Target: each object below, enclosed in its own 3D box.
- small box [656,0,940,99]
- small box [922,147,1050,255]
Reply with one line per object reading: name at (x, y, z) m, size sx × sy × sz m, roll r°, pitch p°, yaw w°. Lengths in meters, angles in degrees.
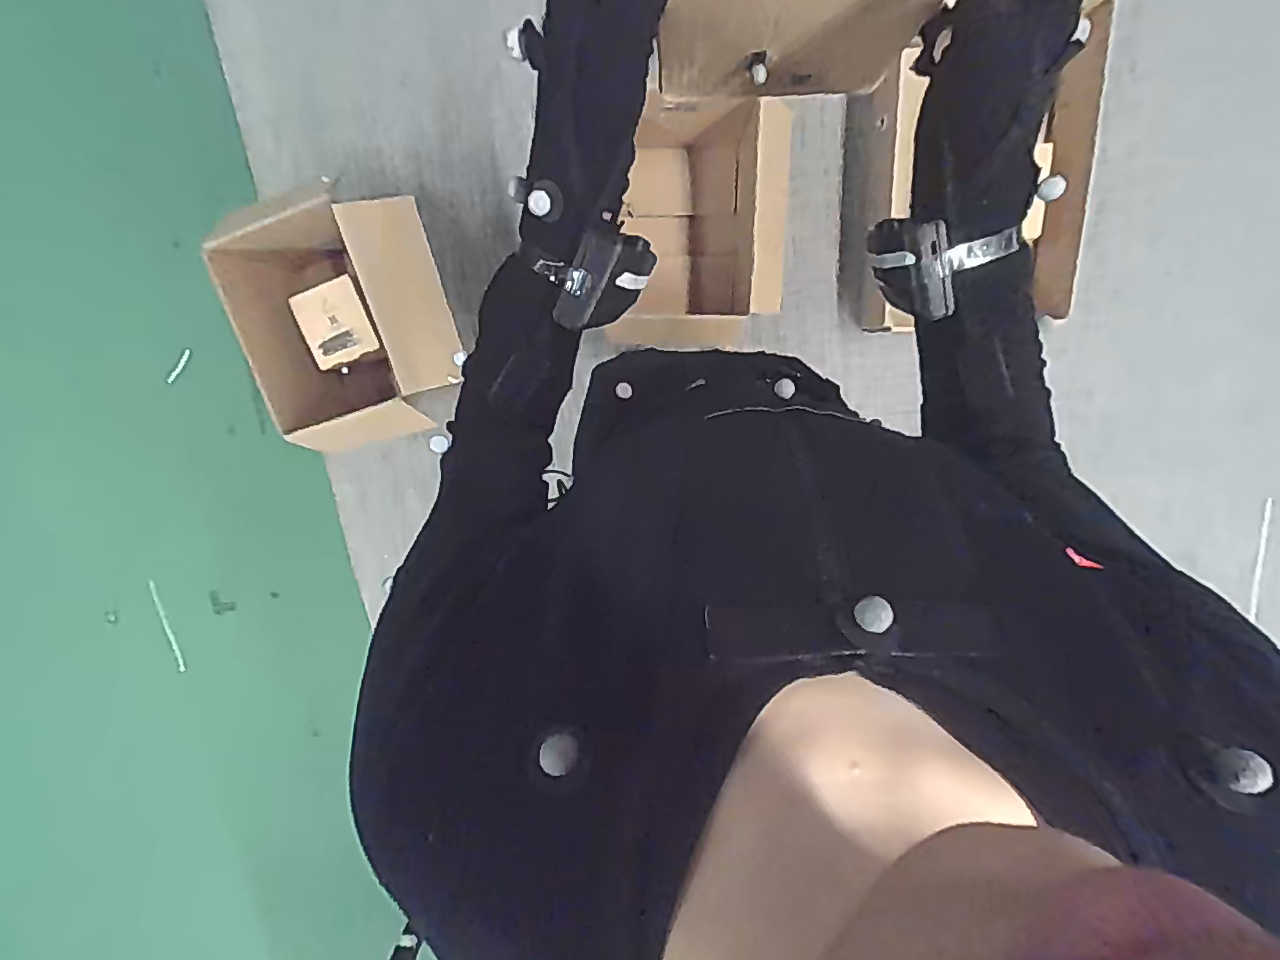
small box at (0.092, -0.365, 0.323) m, size 0.168 × 0.176 × 0.179 m, roll 0°, pitch 105°, yaw 5°
small box at (0.734, -0.592, 1.168) m, size 0.168 × 0.176 × 0.179 m, roll 1°, pitch 102°, yaw 2°
